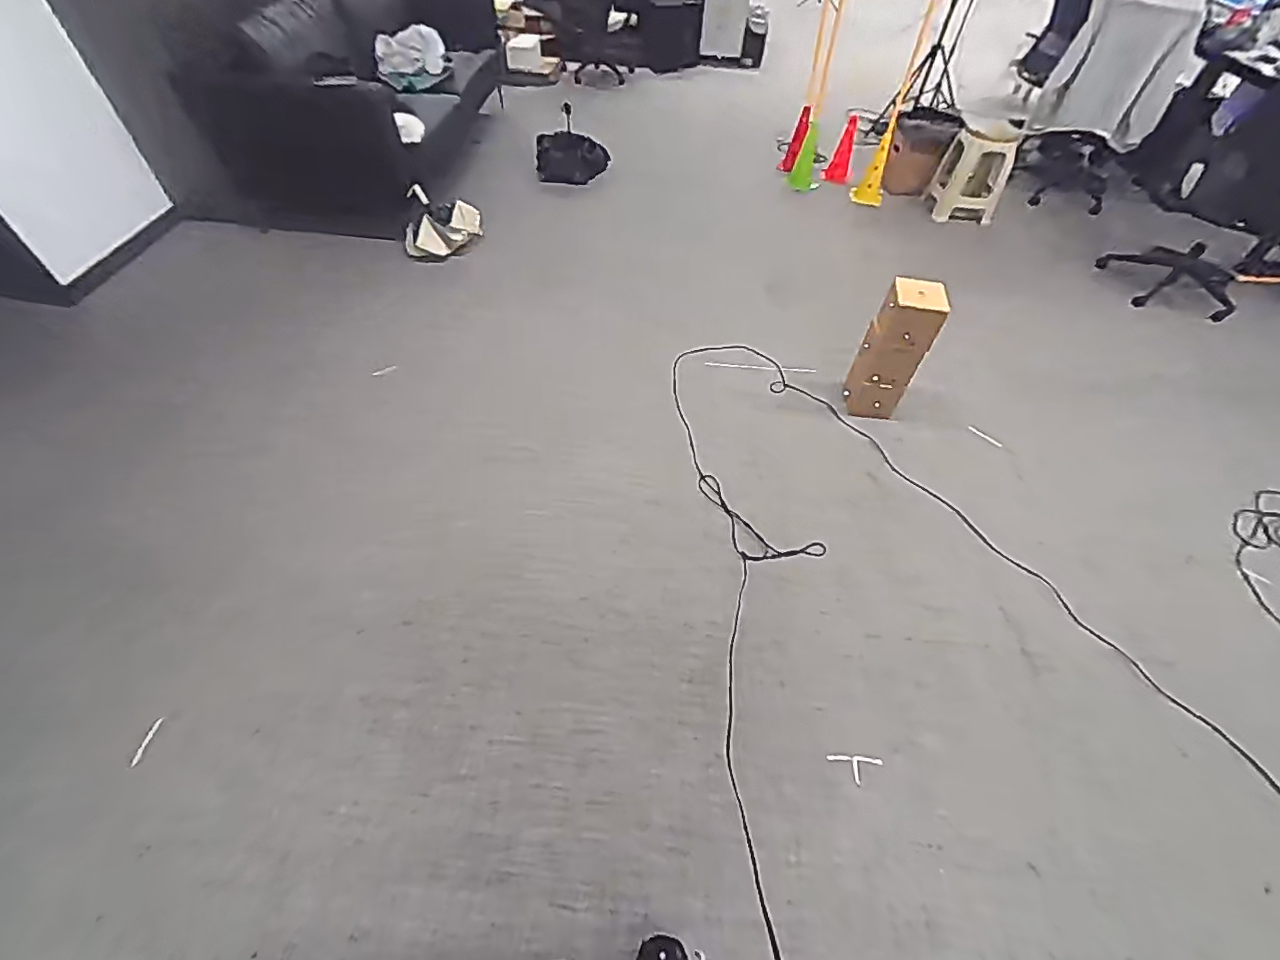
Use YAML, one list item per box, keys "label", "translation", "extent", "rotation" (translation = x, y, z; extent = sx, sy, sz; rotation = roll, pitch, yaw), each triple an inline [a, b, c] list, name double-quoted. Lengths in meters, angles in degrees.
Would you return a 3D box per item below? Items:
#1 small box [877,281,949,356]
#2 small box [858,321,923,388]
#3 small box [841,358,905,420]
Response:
- label: "small box"
  translation: [0.942, -0.563, 1.883]
  extent: [0.168, 0.176, 0.179]
  rotation: [11, 52, 5]
- label: "small box"
  translation: [0.928, -0.464, 2.011]
  extent: [0.168, 0.176, 0.179]
  rotation: [7, 50, 2]
- label: "small box"
  translation: [0.916, -0.356, 2.138]
  extent: [0.168, 0.176, 0.179]
  rotation: [6, 53, -2]
